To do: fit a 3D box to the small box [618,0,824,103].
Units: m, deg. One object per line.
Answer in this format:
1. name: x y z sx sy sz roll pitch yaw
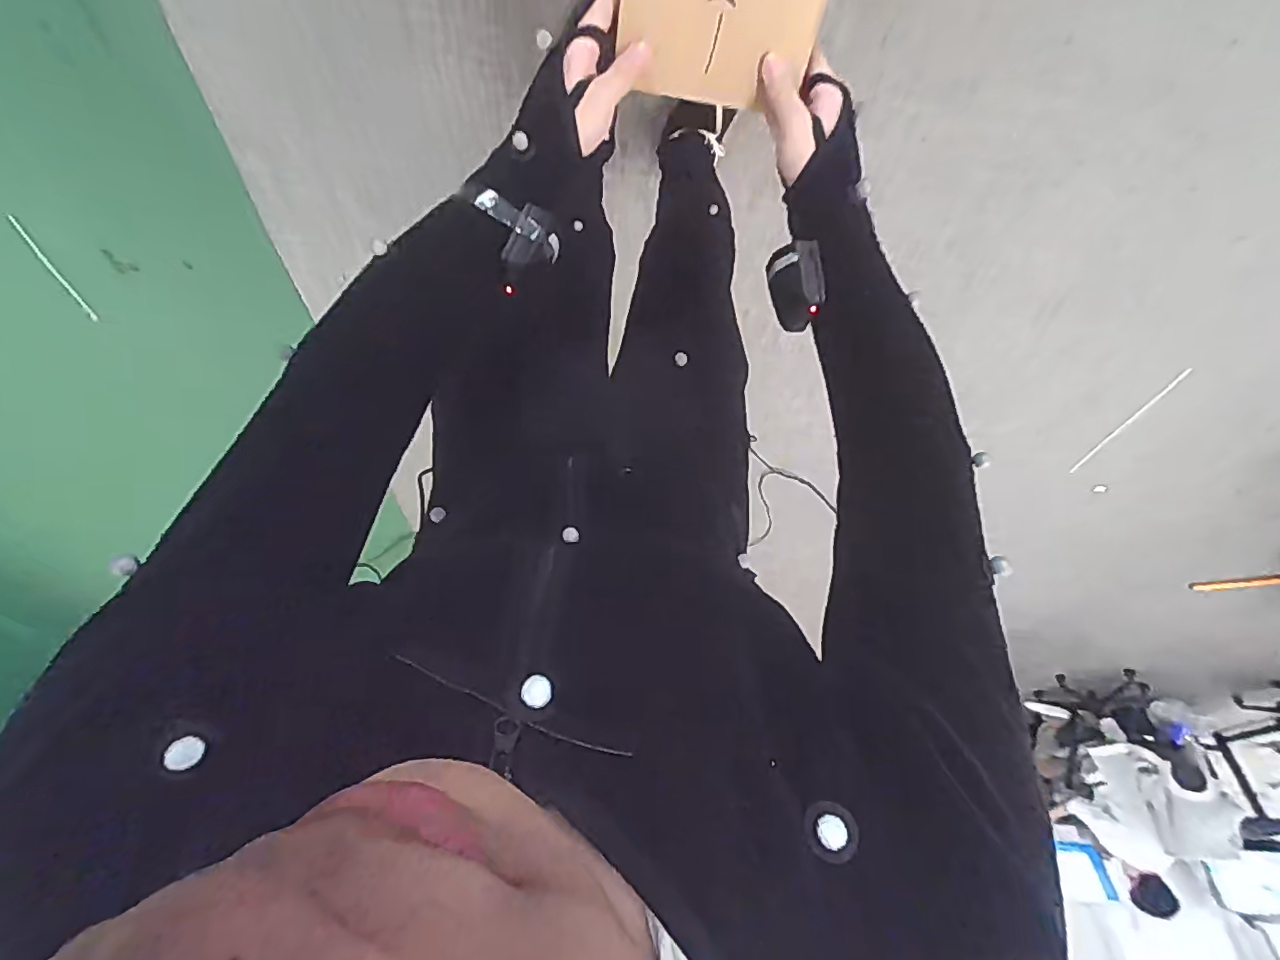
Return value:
1. small box: 0.072 -0.471 0.476 0.168 0.176 0.179 6 138 -7
